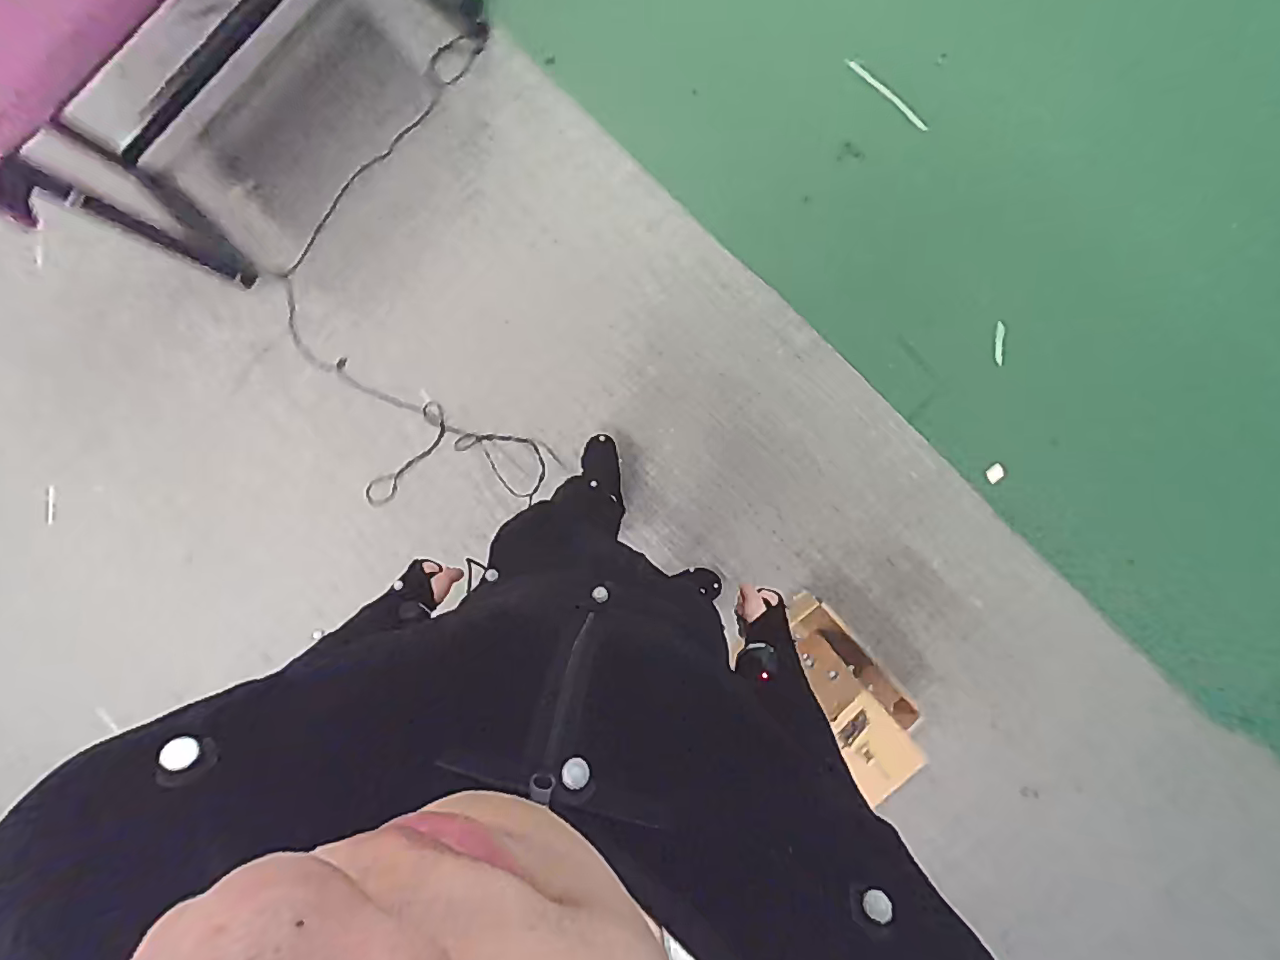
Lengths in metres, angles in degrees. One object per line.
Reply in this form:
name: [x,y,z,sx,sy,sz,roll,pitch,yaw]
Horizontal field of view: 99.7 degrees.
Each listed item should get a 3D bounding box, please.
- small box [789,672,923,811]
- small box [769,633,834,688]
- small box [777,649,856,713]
small box: [0.435,0.526,1.124,0.168,0.176,0.179,-42,86,3]
small box: [0.471,0.541,1.450,0.168,0.176,0.179,-40,86,4]
small box: [0.452,0.534,1.287,0.168,0.176,0.179,-40,85,3]
